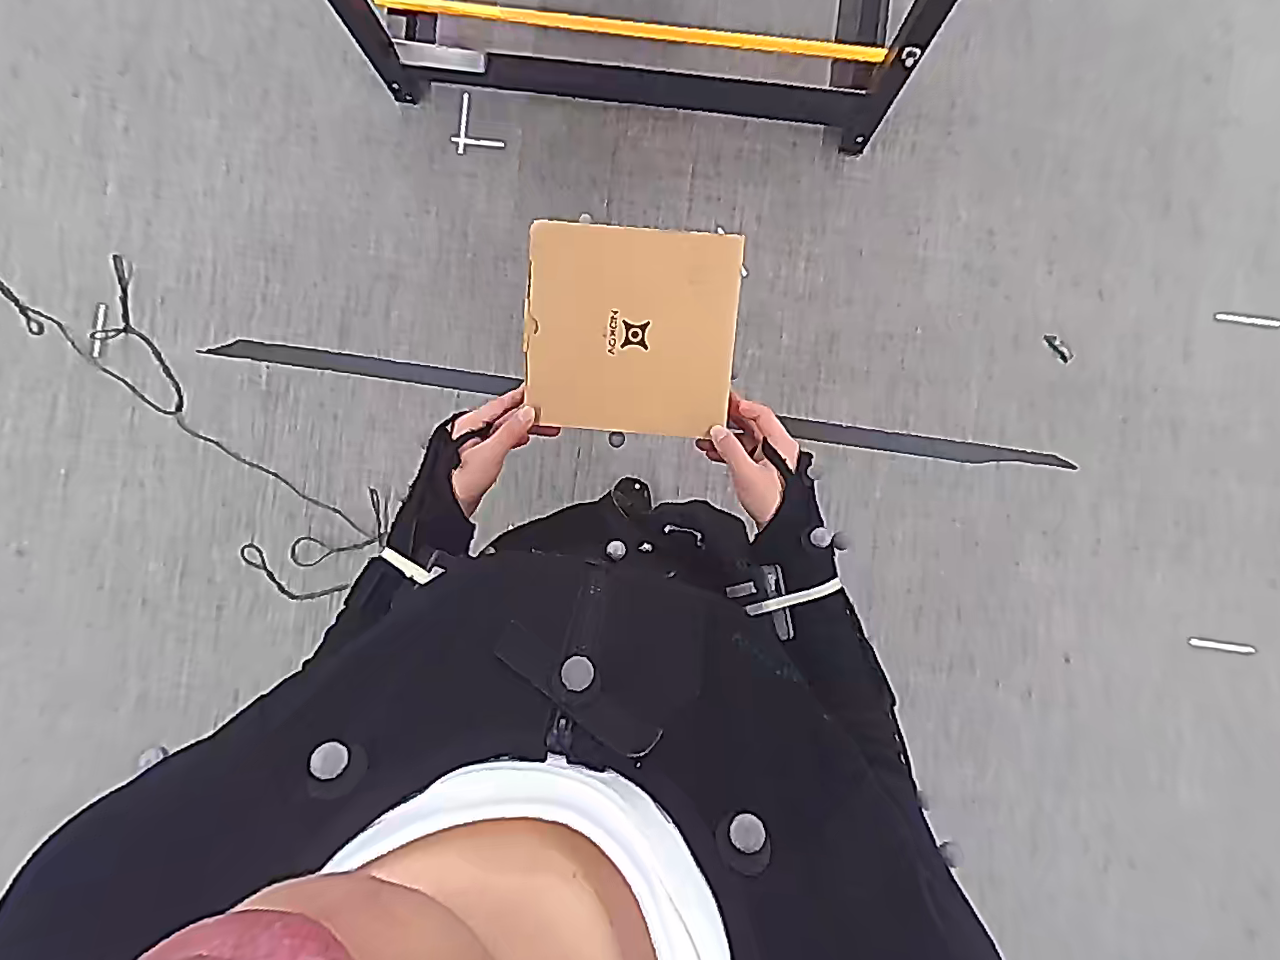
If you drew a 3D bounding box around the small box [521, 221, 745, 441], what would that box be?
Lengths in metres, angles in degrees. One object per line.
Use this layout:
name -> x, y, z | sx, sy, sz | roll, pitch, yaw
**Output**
small box -> -0.004, -0.134, 0.521 | 0.179, 0.176, 0.168 | 5, 100, 3
